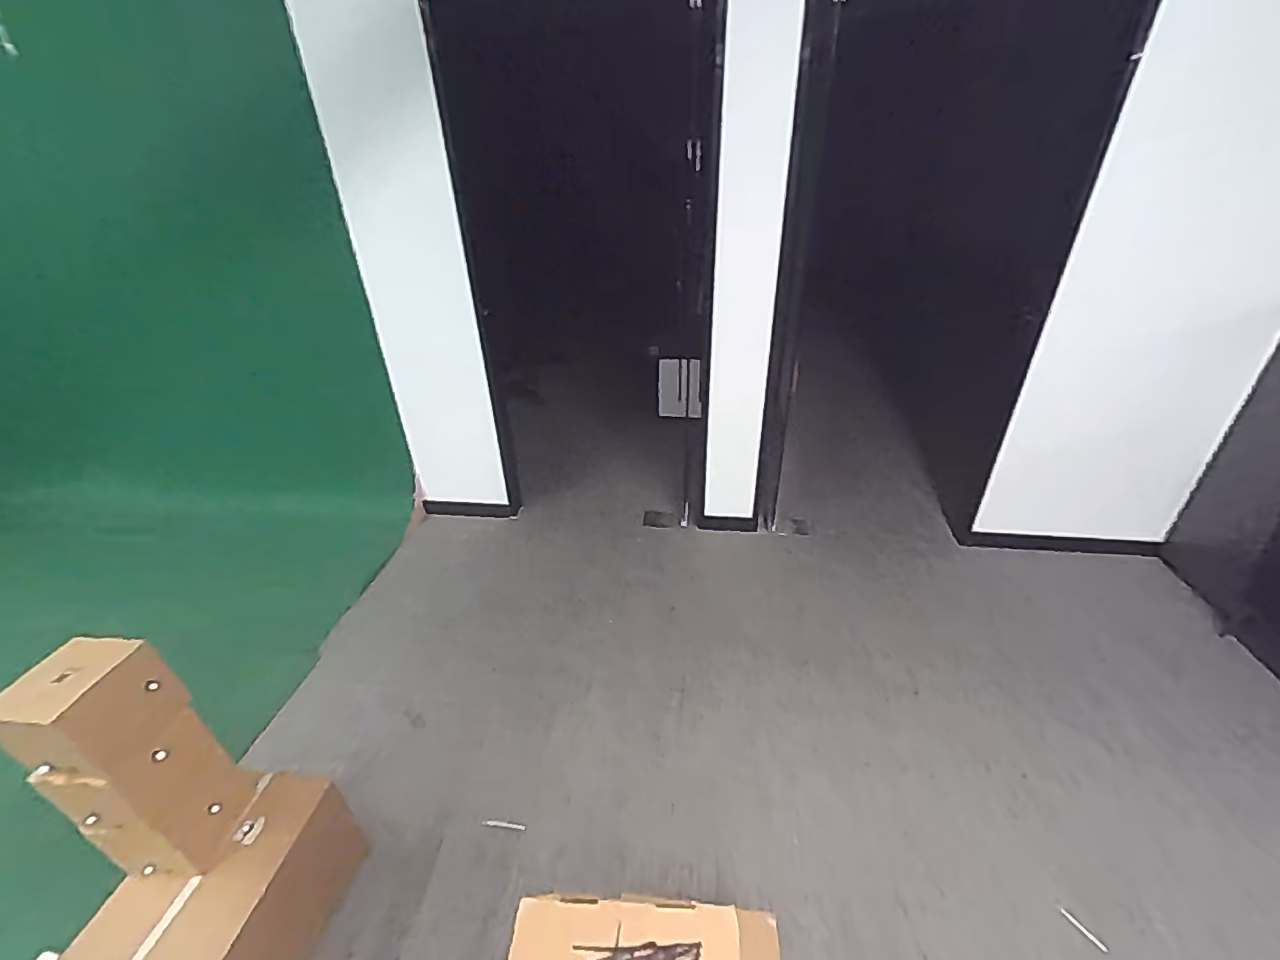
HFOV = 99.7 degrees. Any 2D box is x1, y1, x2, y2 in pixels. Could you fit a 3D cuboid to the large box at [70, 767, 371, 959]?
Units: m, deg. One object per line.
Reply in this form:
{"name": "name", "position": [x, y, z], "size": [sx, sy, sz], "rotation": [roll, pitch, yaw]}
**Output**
{"name": "large box", "position": [-0.892, 0.940, 1.221], "size": [0.320, 0.320, 0.408], "rotation": [2, 30, 7]}

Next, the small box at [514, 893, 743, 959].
{"name": "small box", "position": [-0.008, 0.434, 0.387], "size": [0.168, 0.176, 0.179], "rotation": [-1, 36, 5]}

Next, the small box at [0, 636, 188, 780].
{"name": "small box", "position": [-0.990, 0.414, 0.995], "size": [0.168, 0.176, 0.179], "rotation": [0, 32, 10]}

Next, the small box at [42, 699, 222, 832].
{"name": "small box", "position": [-0.983, 0.558, 1.072], "size": [0.168, 0.176, 0.179], "rotation": [-1, 32, 8]}
